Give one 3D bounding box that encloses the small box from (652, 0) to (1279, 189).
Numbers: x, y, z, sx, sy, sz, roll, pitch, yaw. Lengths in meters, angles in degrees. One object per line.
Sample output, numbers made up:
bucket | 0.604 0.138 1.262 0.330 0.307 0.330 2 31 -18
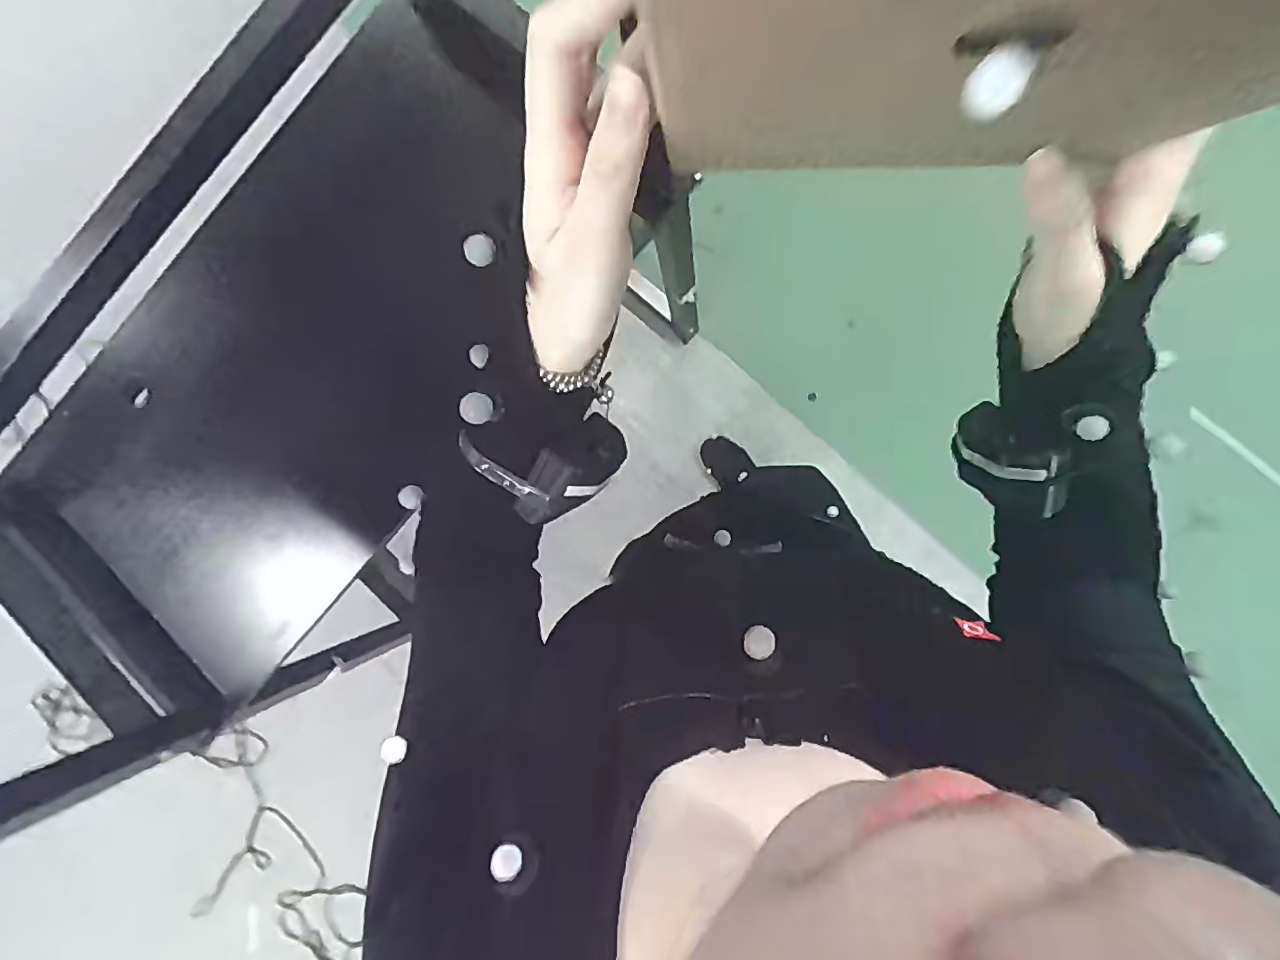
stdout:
small box | 0.091 -0.172 0.121 0.179 0.176 0.168 2 109 6
